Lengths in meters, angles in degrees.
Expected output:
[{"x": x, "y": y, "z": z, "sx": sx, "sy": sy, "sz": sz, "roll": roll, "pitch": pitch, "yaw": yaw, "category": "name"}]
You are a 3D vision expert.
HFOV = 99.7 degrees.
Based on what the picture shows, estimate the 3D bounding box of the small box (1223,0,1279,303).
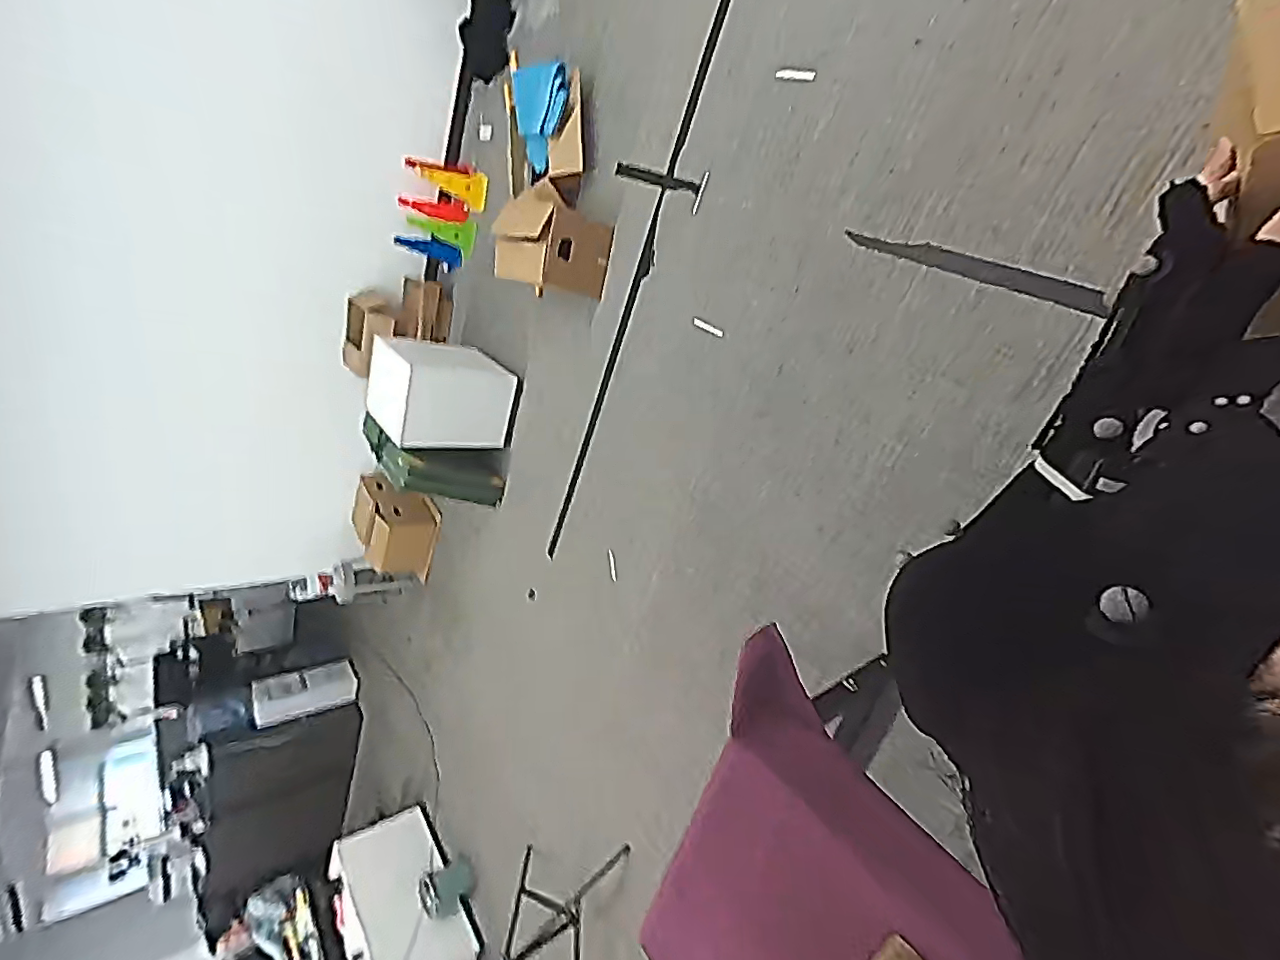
[{"x": 0.481, "y": -0.228, "z": 0.323, "sx": 0.168, "sy": 0.176, "sz": 0.179, "roll": 2, "pitch": 61, "yaw": 41, "category": "small box"}]
